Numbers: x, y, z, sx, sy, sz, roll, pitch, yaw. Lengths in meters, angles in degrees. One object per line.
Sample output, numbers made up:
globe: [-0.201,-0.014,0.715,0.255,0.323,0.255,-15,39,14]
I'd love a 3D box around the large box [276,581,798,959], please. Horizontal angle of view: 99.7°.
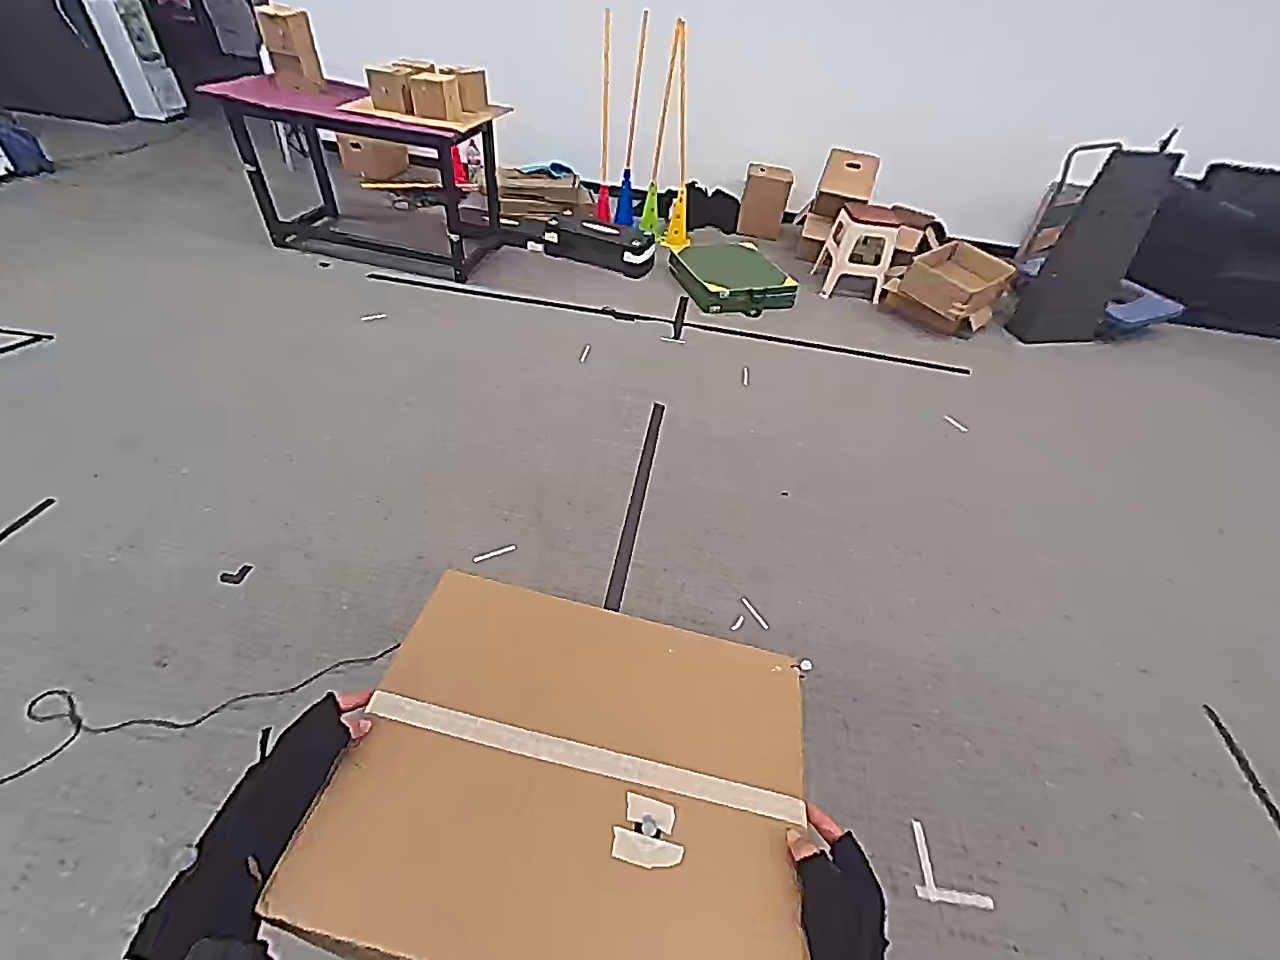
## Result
large box: [-0.077,0.364,0.601,0.408,0.320,0.320,14,44,1]
